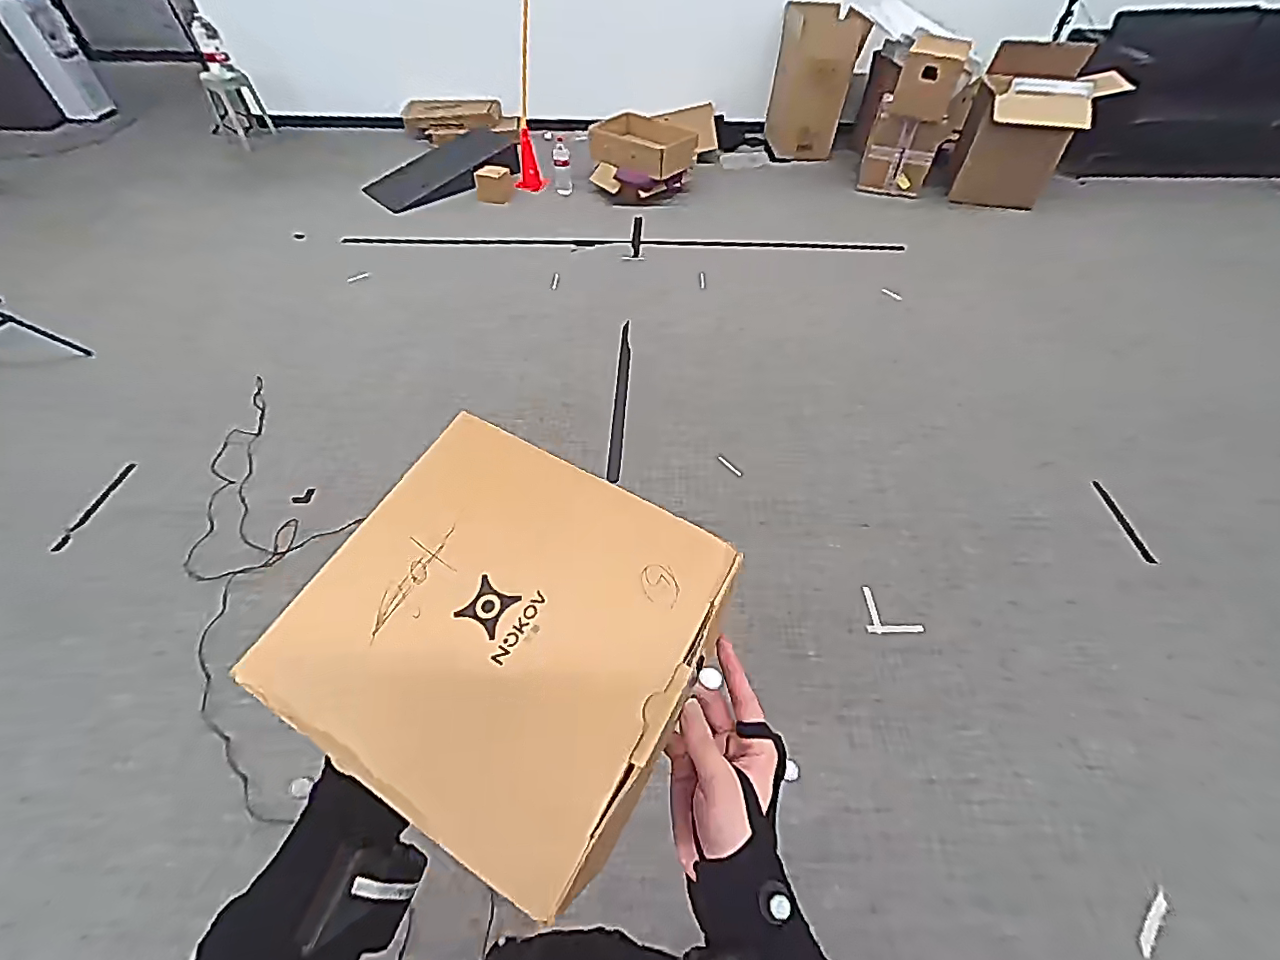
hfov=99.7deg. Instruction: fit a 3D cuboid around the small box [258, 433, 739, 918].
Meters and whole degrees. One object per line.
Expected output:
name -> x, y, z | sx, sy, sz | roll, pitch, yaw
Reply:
small box -> -0.060, 0.108, 0.327 | 0.179, 0.176, 0.168 | 25, 64, 17
